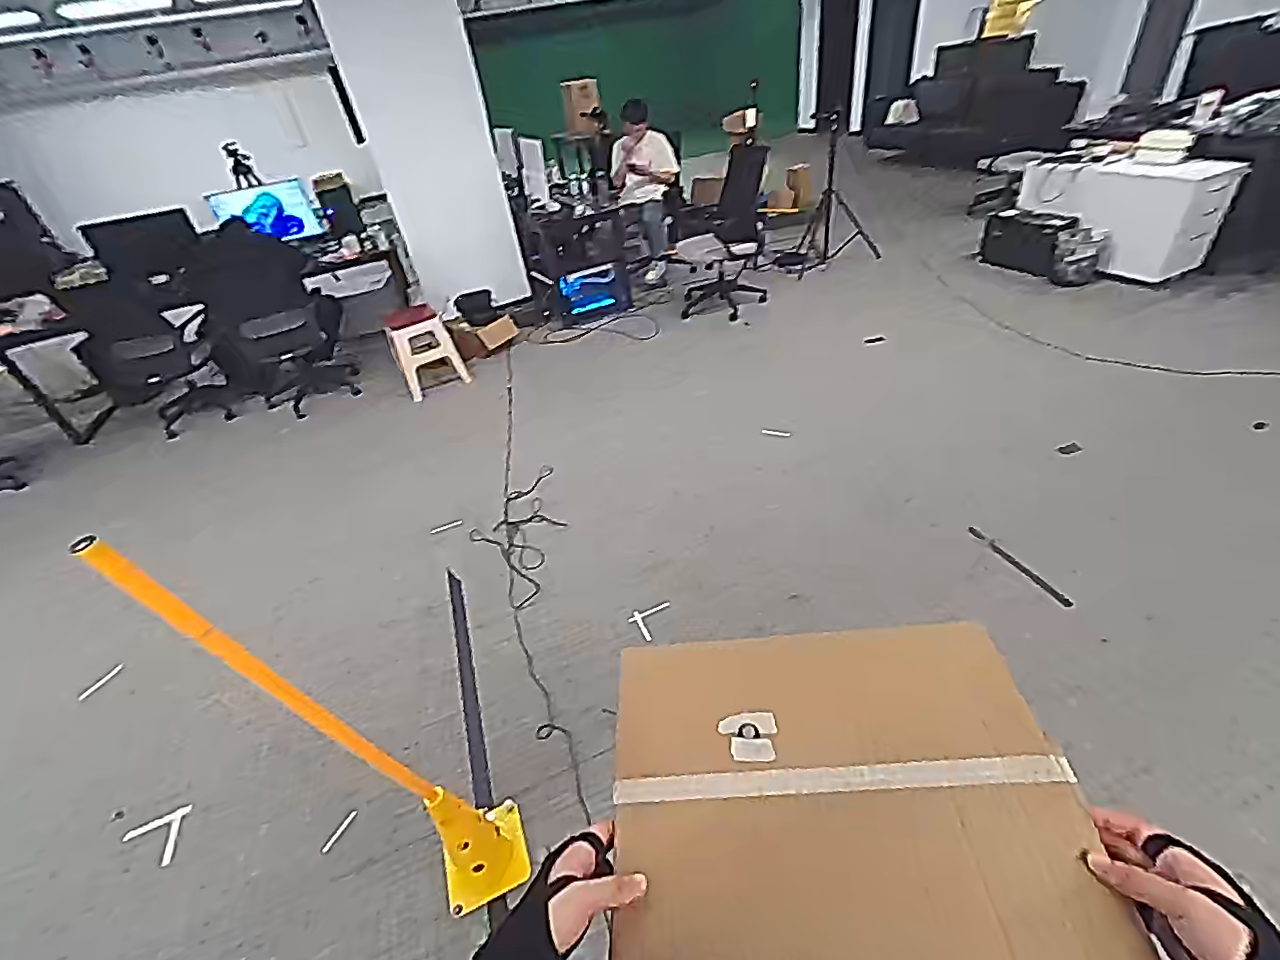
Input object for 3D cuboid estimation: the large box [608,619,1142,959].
[{"bbox_3d":[0.197,0.394,0.612,0.408,0.320,0.320,-8,40,7],"label":"large box"}]
